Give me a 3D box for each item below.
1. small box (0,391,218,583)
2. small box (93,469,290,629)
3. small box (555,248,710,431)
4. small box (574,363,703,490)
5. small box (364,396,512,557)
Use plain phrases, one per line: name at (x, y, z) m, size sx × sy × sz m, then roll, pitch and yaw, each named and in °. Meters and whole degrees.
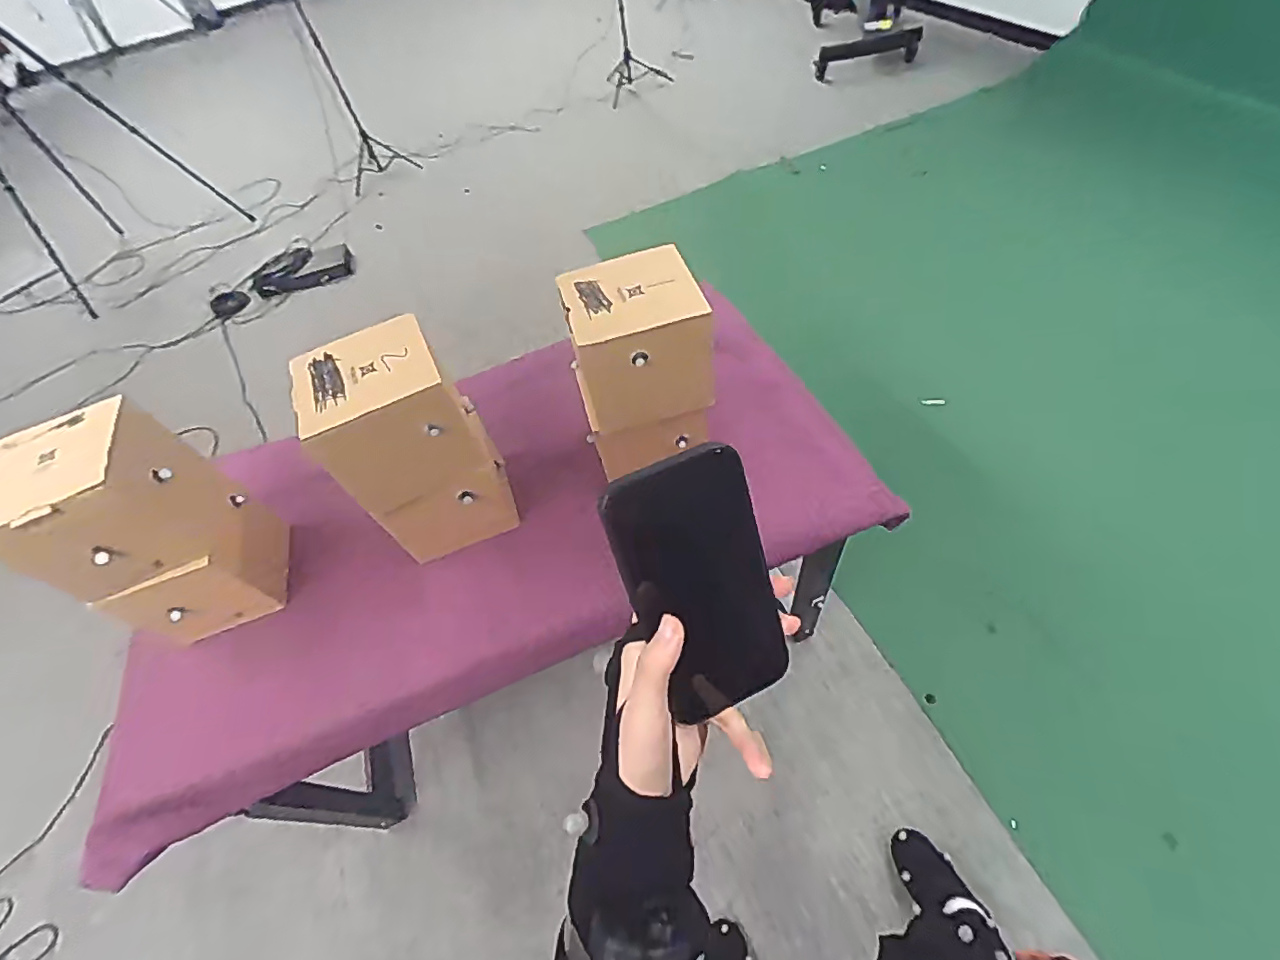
small box at (-0.717, 0.019, 0.734) m, size 0.168 × 0.176 × 0.179 m, roll -24°, pitch 55°, yaw -9°
small box at (-0.693, 0.119, 0.862) m, size 0.168 × 0.176 × 0.179 m, roll -20°, pitch 54°, yaw -5°
small box at (-0.007, -0.193, 0.771) m, size 0.179 × 0.176 × 0.168 m, roll -15°, pitch 54°, yaw -2°
small box at (0.002, -0.108, 0.911) m, size 0.179 × 0.176 × 0.168 m, roll -16°, pitch 54°, yaw -1°
small box at (-0.321, -0.001, 0.886) m, size 0.179 × 0.176 × 0.168 m, roll -20°, pitch 54°, yaw -5°
